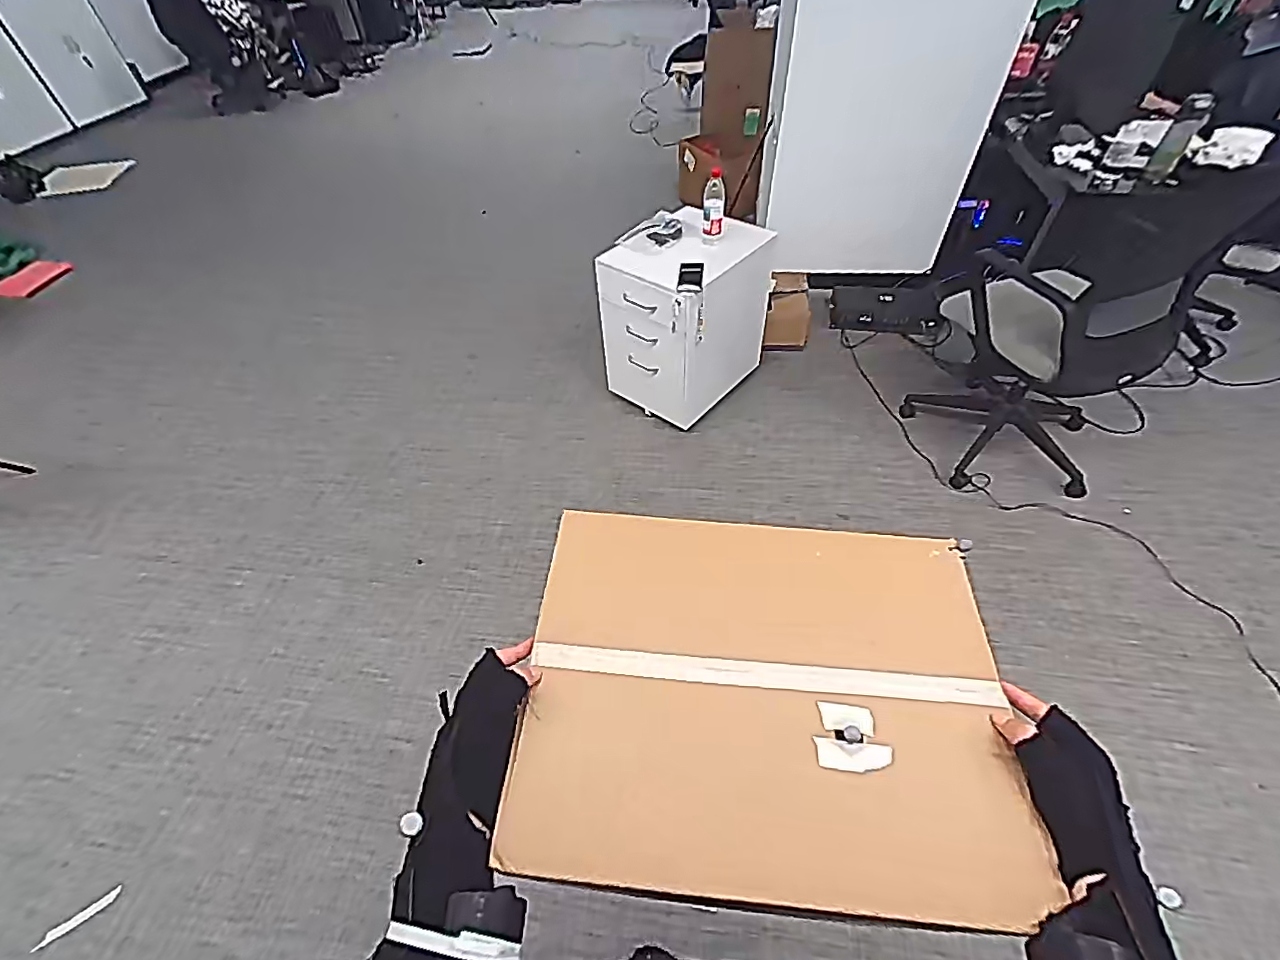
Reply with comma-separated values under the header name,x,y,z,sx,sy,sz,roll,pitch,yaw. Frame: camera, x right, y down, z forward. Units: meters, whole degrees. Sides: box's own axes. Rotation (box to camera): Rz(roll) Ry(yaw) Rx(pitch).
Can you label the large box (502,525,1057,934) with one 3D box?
name,x,y,z,sx,sy,sz,roll,pitch,yaw
large box,0.104,0.272,0.591,0.408,0.320,0.320,5,53,3
